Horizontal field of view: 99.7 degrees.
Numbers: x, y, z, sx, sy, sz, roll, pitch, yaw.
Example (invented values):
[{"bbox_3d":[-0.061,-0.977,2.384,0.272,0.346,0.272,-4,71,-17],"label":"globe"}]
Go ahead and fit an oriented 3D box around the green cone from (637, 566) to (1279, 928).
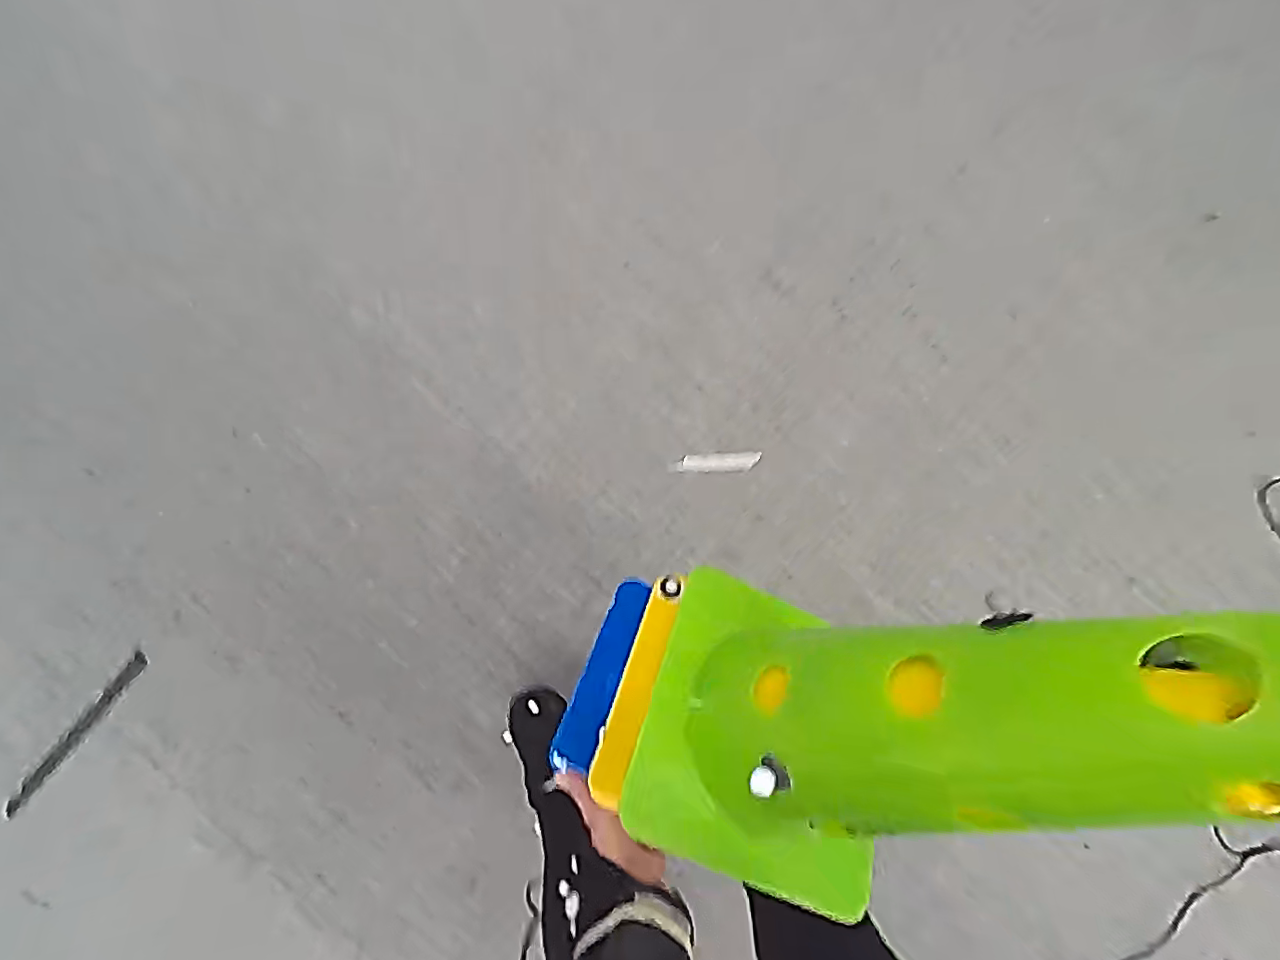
[{"bbox_3d":[0.166,0.115,0.249,0.200,0.368,0.202,26,60,-8],"label":"green cone"}]
